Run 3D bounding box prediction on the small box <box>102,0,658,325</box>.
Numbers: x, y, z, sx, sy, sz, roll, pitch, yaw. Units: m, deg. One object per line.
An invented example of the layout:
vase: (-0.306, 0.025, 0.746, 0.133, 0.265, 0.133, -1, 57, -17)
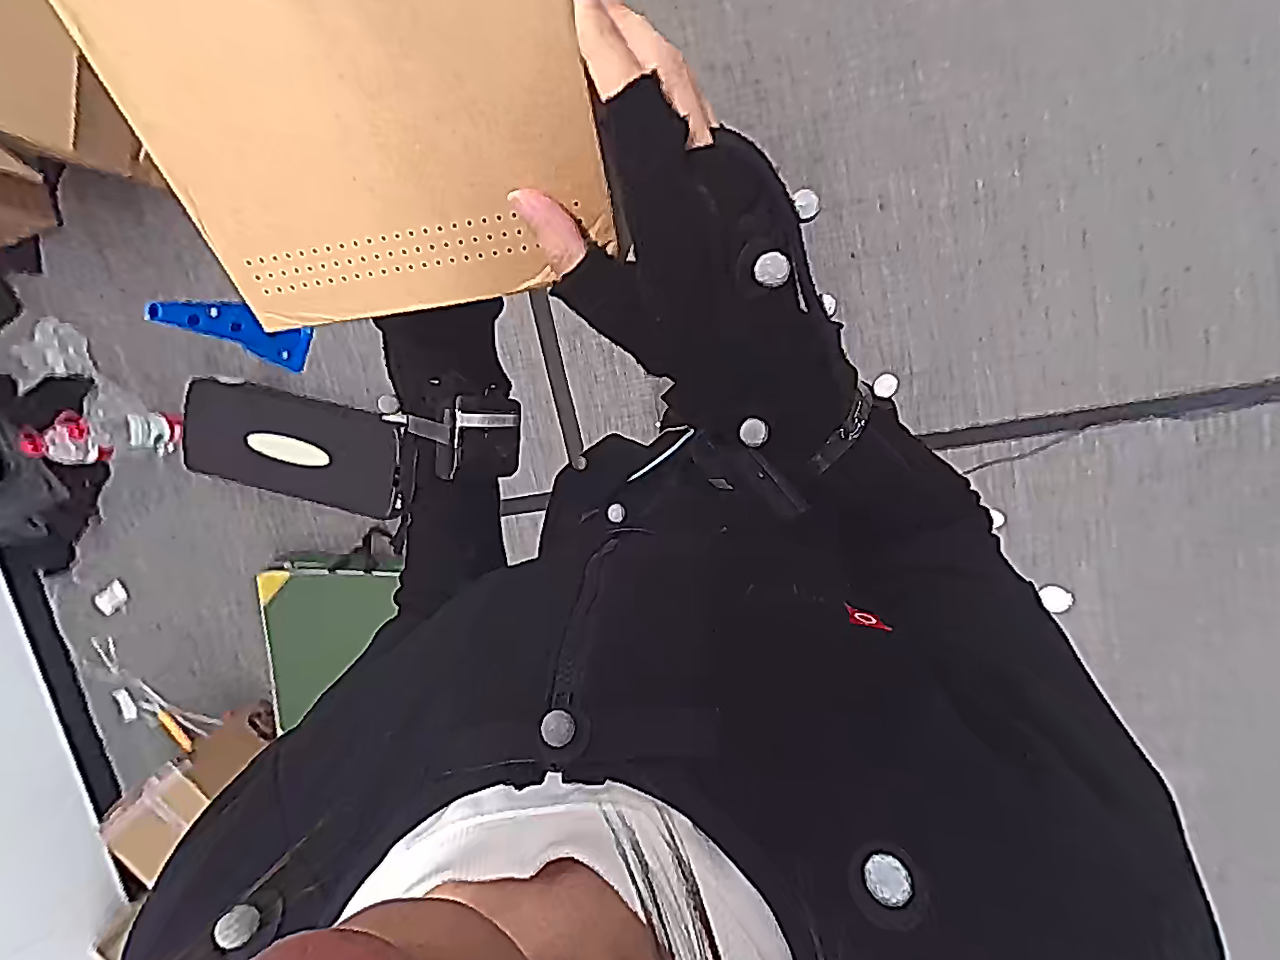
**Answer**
small box: (-0.095, -0.188, 0.257, 0.179, 0.168, 0.176, -5, 132, 10)
